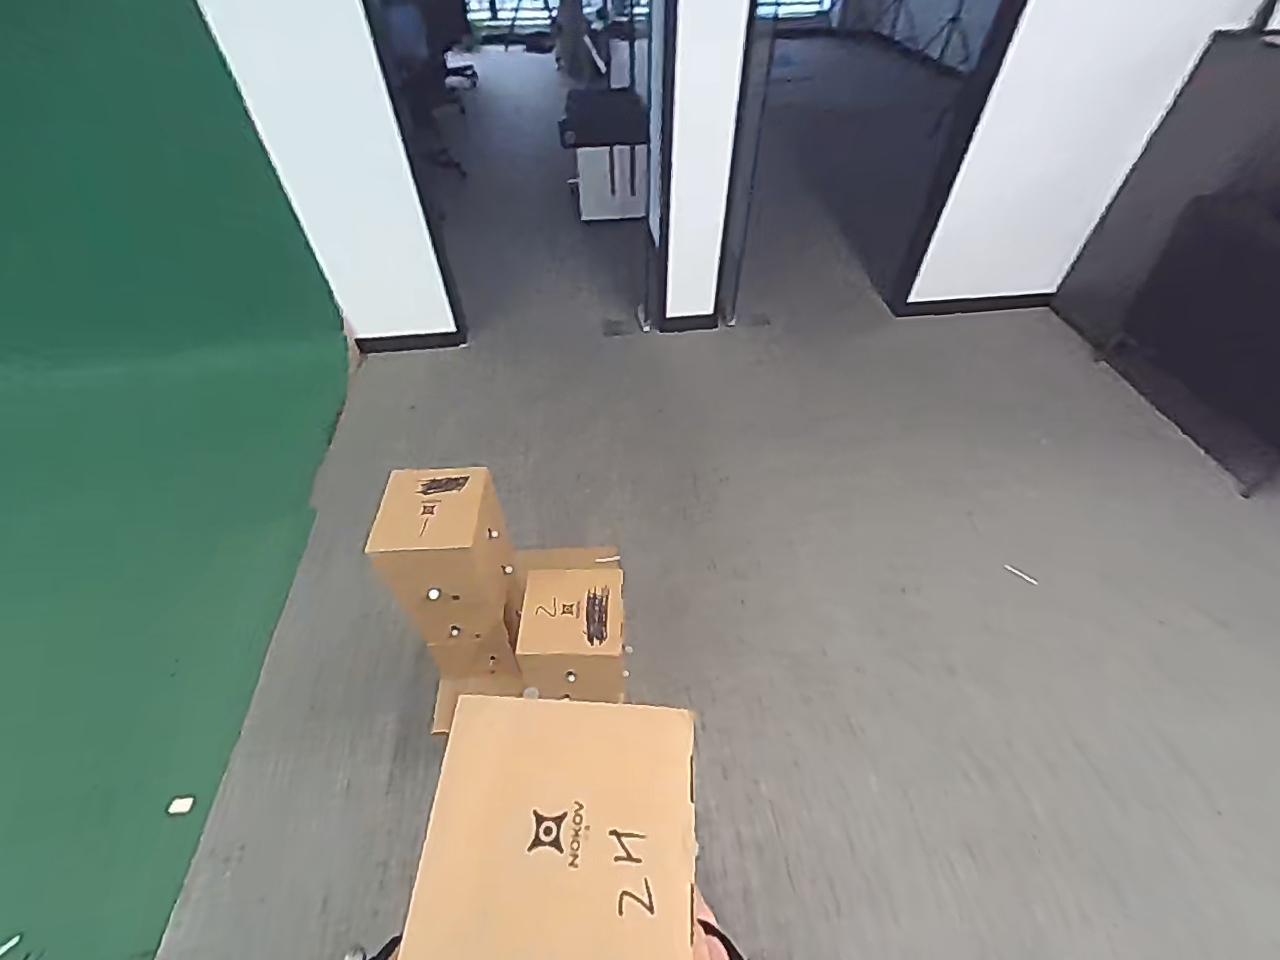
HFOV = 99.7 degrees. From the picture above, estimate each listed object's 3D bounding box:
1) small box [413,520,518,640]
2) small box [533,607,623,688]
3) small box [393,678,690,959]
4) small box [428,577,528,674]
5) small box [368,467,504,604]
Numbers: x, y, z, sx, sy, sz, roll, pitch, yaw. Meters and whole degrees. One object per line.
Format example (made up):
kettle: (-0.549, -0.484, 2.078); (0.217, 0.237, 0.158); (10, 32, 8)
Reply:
small box: (-0.341, 0.199, 1.073); (0.168, 0.176, 0.179); (-2, 48, -2)
small box: (-0.121, 0.383, 1.120); (0.168, 0.176, 0.179); (-1, 46, -1)
small box: (-0.056, 0.266, 0.424); (0.179, 0.176, 0.168); (4, 56, 0)
small box: (-0.345, 0.314, 1.189); (0.168, 0.176, 0.179); (-2, 46, -2)
small box: (-0.340, 0.097, 0.945); (0.168, 0.176, 0.179); (-2, 48, -2)
